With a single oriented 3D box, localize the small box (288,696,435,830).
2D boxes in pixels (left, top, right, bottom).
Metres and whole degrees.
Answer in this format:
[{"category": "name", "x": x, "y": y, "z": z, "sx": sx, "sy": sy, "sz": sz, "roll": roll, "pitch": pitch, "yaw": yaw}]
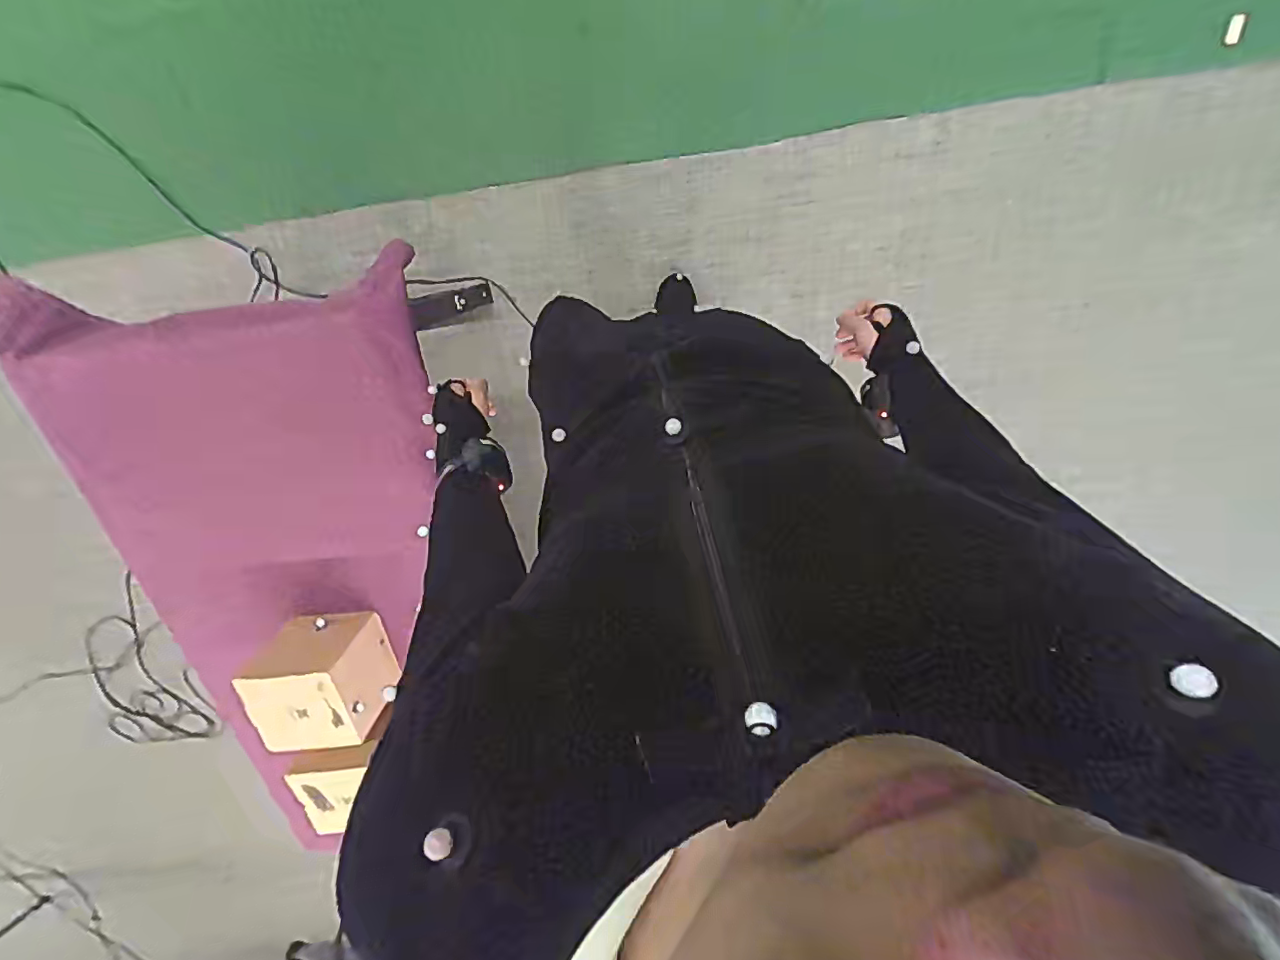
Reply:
[{"category": "small box", "x": -0.544, "y": 0.560, "z": 1.083, "sx": 0.179, "sy": 0.176, "sz": 0.168, "roll": -9, "pitch": 113, "yaw": 6}]
